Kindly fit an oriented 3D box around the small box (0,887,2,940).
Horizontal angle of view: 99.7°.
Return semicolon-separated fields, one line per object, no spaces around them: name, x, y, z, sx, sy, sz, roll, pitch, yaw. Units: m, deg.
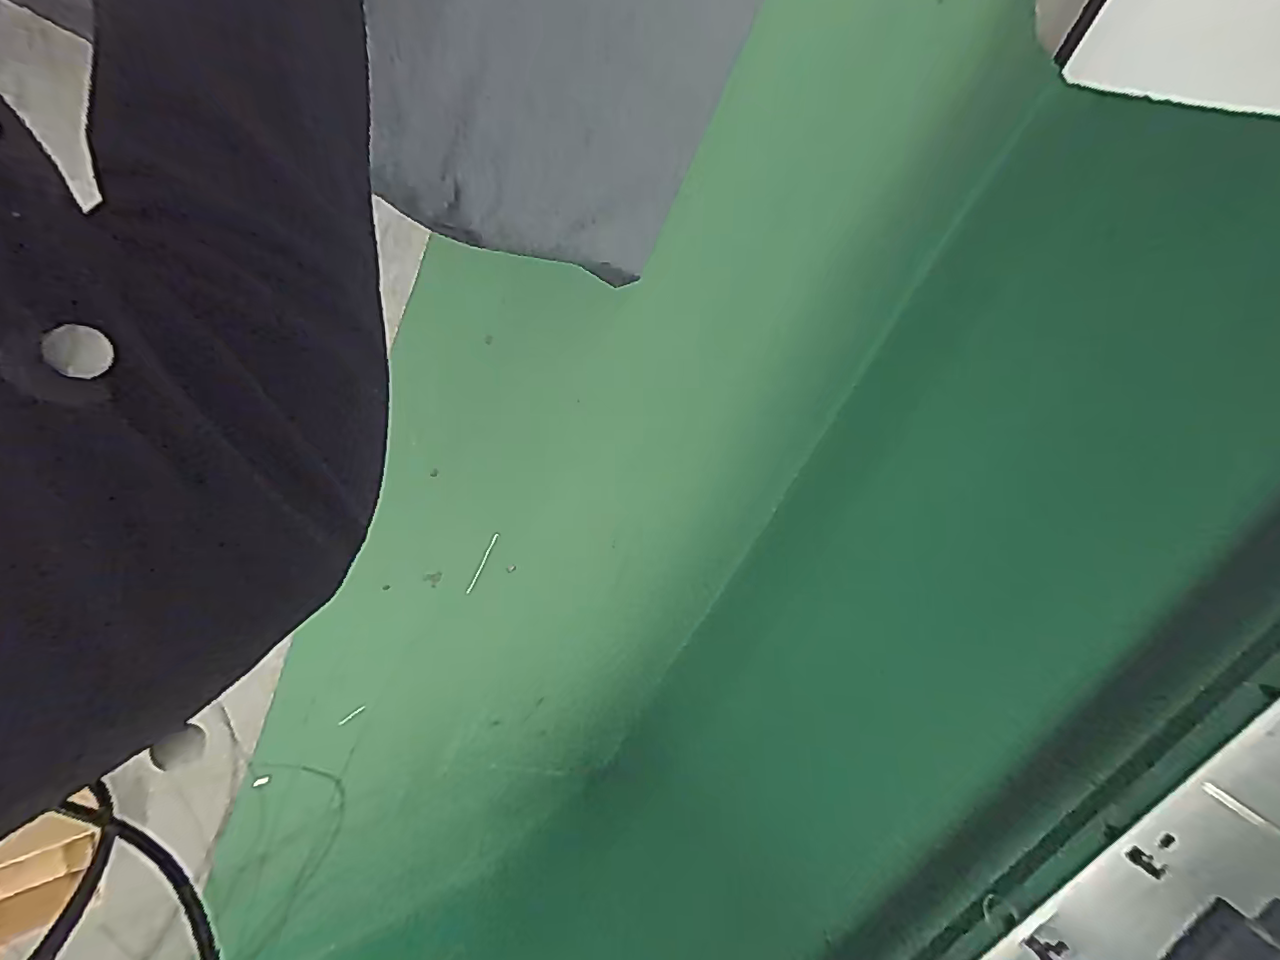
small box;-1.810;1.145;1.414;0.179;0.176;0.168;-2;123;-48
